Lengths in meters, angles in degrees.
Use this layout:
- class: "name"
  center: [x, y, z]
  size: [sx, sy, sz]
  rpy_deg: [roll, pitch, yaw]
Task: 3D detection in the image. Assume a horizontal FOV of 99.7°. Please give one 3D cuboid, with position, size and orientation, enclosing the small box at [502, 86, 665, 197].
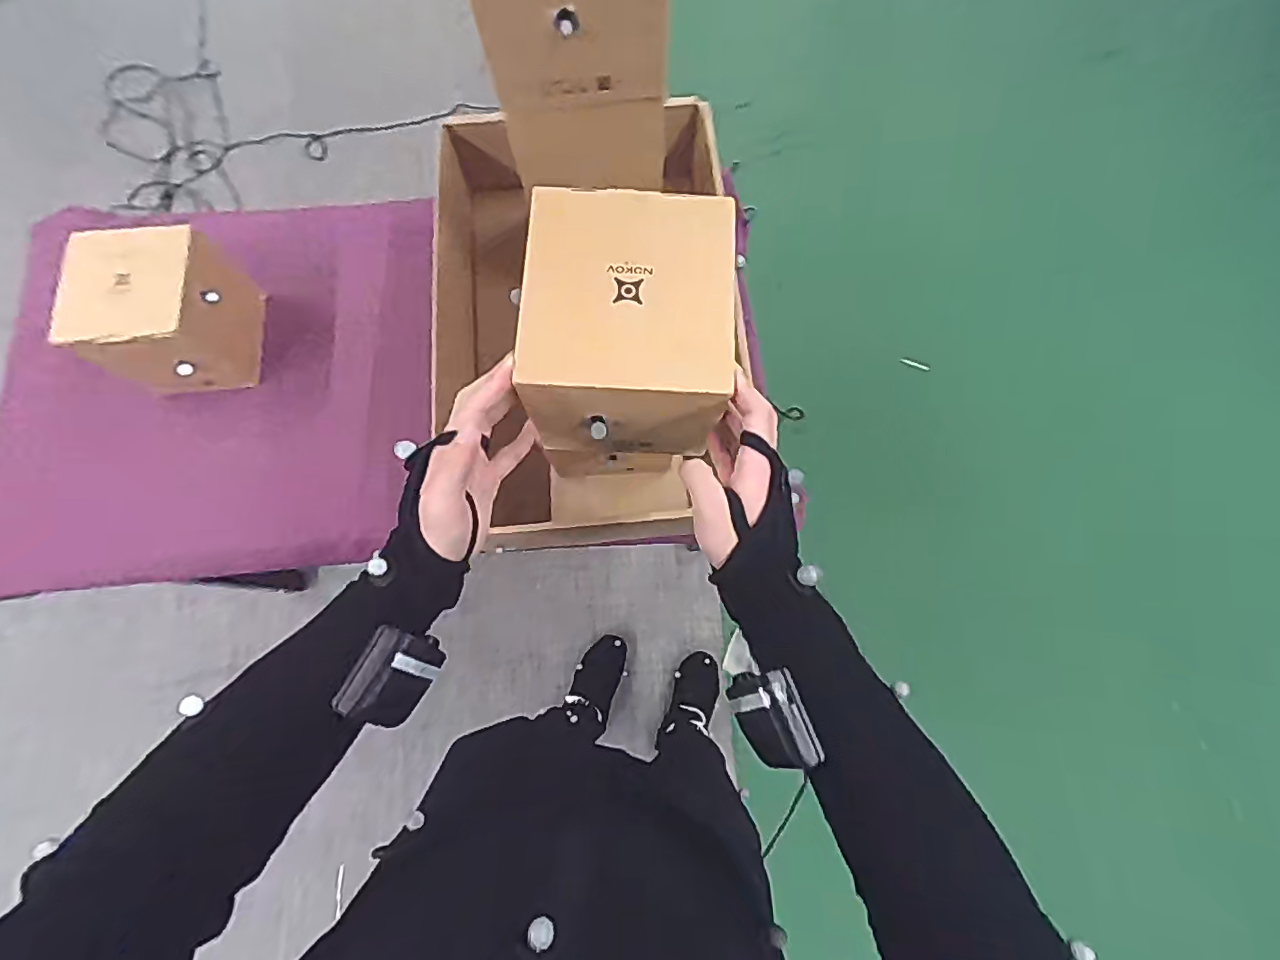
- class: "small box"
  center: [-0.063, -0.434, 0.638]
  size: [0.168, 0.176, 0.179]
  rpy_deg: [-6, 77, 0]

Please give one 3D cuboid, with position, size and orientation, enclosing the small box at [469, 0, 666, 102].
- class: "small box"
  center: [-0.064, -0.470, 0.477]
  size: [0.168, 0.176, 0.179]
  rpy_deg: [-5, 76, -1]

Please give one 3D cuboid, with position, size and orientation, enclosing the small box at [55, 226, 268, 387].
- class: "small box"
  center: [-0.701, -0.249, 0.816]
  size: [0.168, 0.176, 0.179]
  rpy_deg: [-4, 75, -2]

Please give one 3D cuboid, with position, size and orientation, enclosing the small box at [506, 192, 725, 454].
- class: "small box"
  center: [-0.016, -0.128, 0.497]
  size: [0.168, 0.176, 0.179]
  rpy_deg: [2, 75, -1]
